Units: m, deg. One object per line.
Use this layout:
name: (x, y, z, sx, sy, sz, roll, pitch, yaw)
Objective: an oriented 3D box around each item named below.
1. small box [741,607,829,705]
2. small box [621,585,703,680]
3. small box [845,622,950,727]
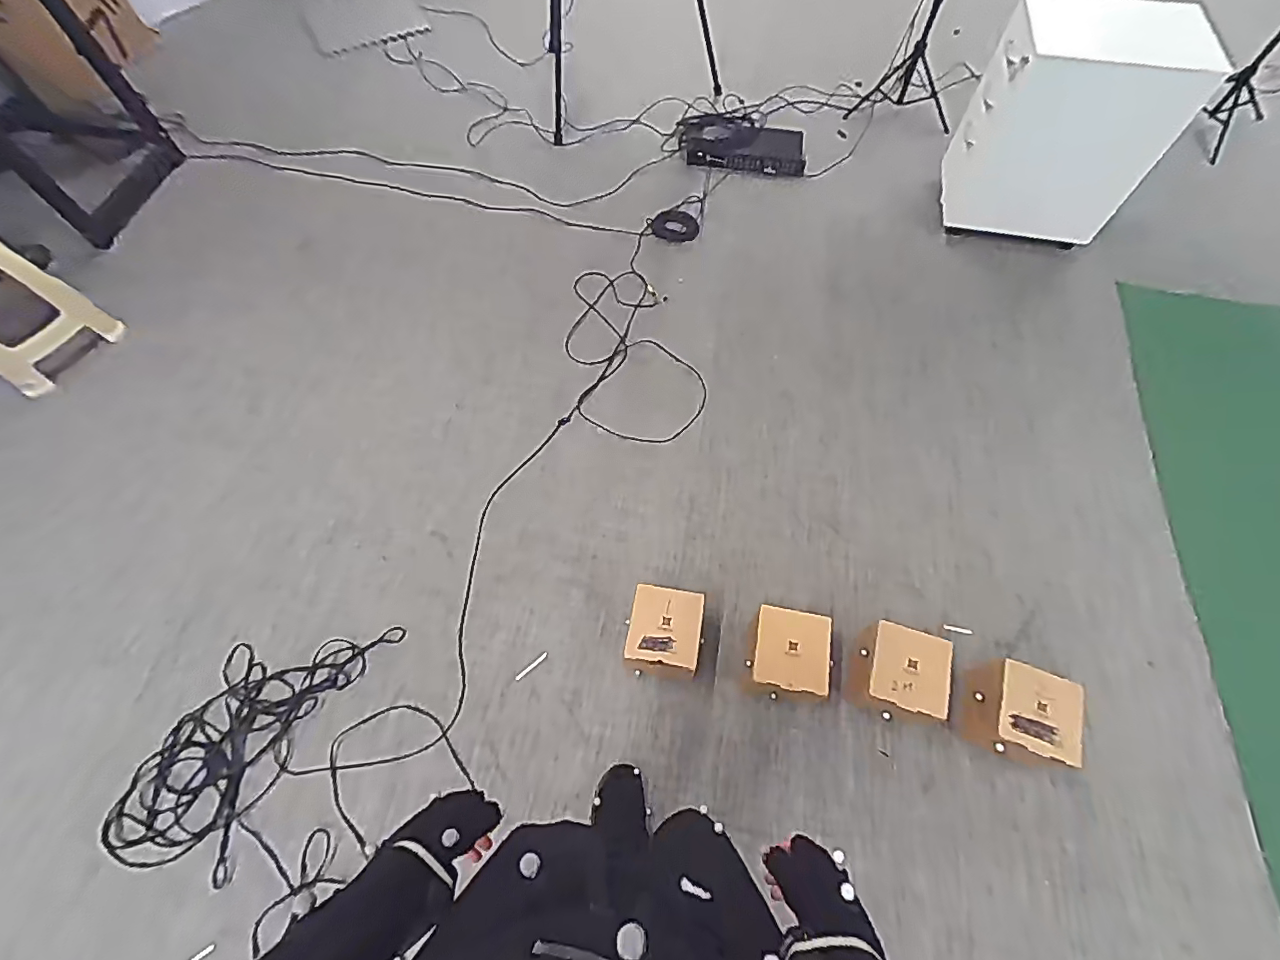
small box: (0.341, 0.422, 1.285, 0.168, 0.176, 0.179, 10, 63, 6)
small box: (0.055, 0.376, 1.312, 0.168, 0.176, 0.179, 9, 62, 6)
small box: (0.594, 0.457, 1.261, 0.168, 0.176, 0.179, 17, 64, 10)
